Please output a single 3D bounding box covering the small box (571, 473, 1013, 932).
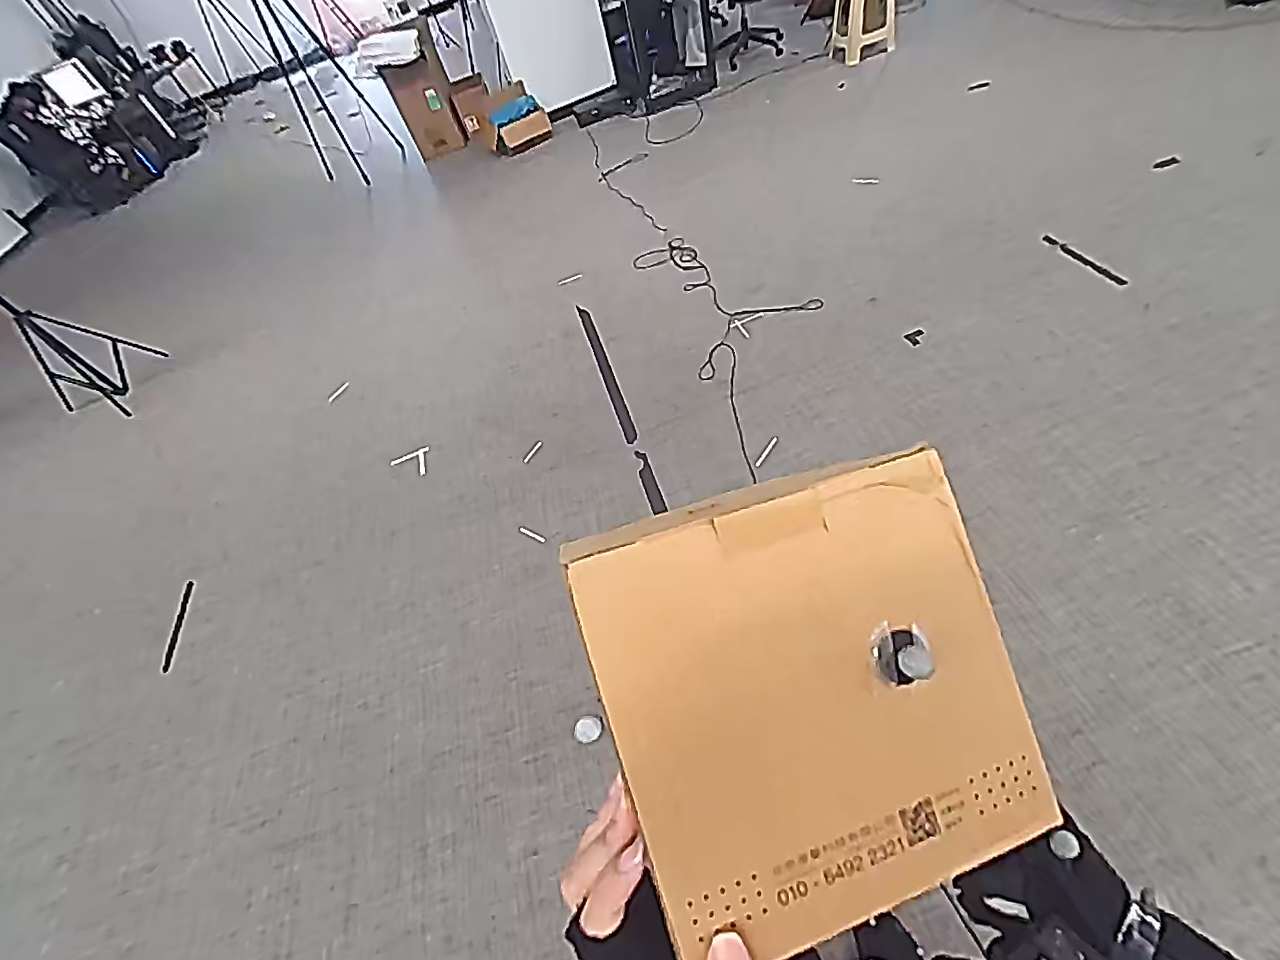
[{"bbox_3d":[0.063,0.106,0.311,0.168,0.179,0.176,-17,87,-9],"label":"small box"}]
